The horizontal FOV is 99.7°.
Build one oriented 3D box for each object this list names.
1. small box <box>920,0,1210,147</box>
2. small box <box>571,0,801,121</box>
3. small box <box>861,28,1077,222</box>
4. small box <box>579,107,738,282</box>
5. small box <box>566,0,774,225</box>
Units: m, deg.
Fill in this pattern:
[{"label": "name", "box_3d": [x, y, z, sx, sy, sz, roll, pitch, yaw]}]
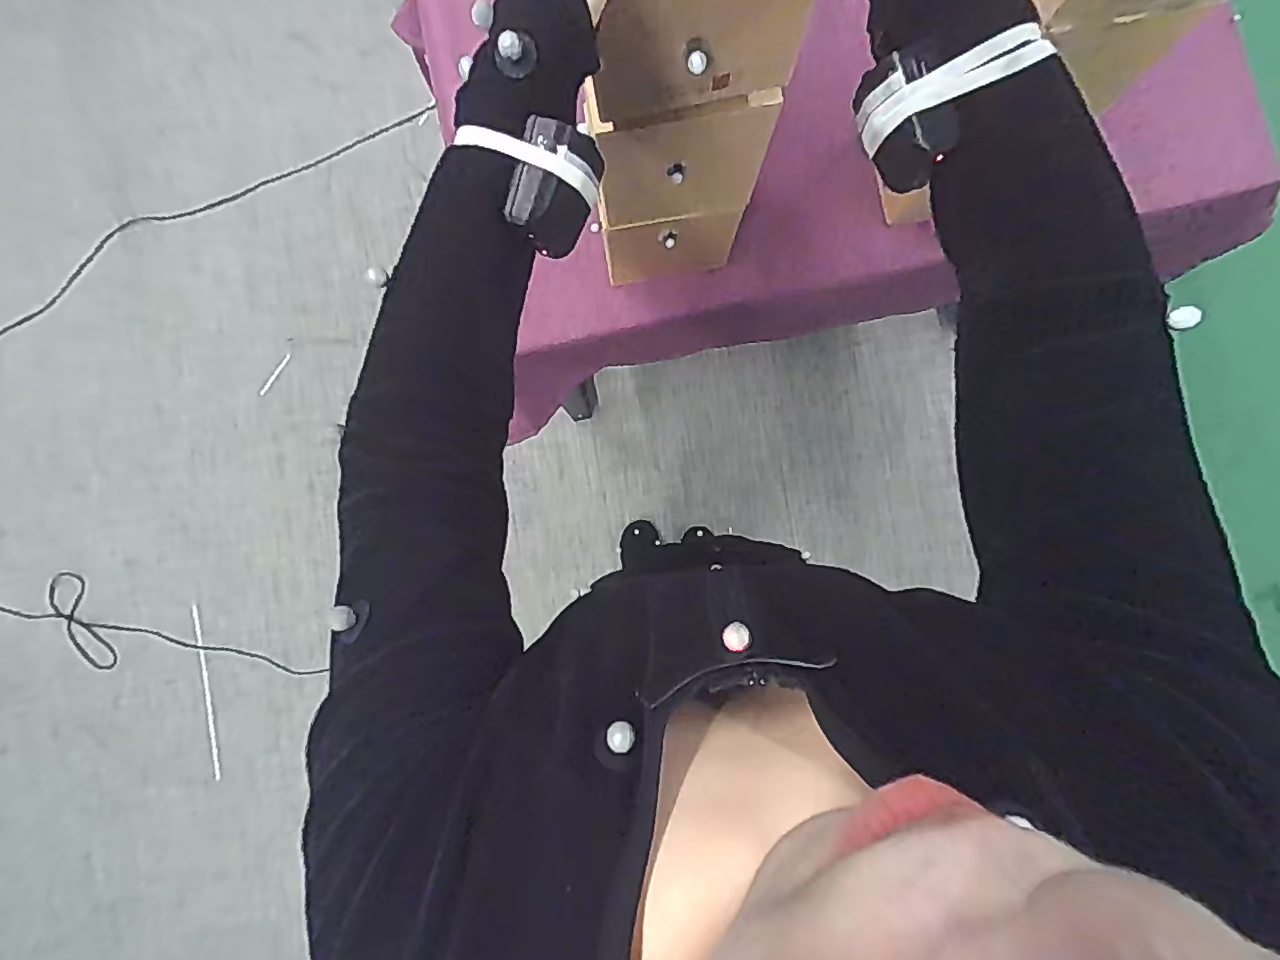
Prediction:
[{"label": "small box", "box_3d": [0.429, -0.503, 0.578, 0.168, 0.176, 0.179, -10, 87, 0]}, {"label": "small box", "box_3d": [0.023, -0.414, 0.395, 0.168, 0.176, 0.179, -11, 86, 2]}, {"label": "small box", "box_3d": [0.434, -0.483, 0.740, 0.179, 0.176, 0.168, -10, 86, 0]}, {"label": "small box", "box_3d": [0.023, -0.390, 0.740, 0.179, 0.176, 0.168, -9, 87, -1]}, {"label": "small box", "box_3d": [0.027, -0.402, 0.577, 0.179, 0.176, 0.168, -10, 87, 1]}]
